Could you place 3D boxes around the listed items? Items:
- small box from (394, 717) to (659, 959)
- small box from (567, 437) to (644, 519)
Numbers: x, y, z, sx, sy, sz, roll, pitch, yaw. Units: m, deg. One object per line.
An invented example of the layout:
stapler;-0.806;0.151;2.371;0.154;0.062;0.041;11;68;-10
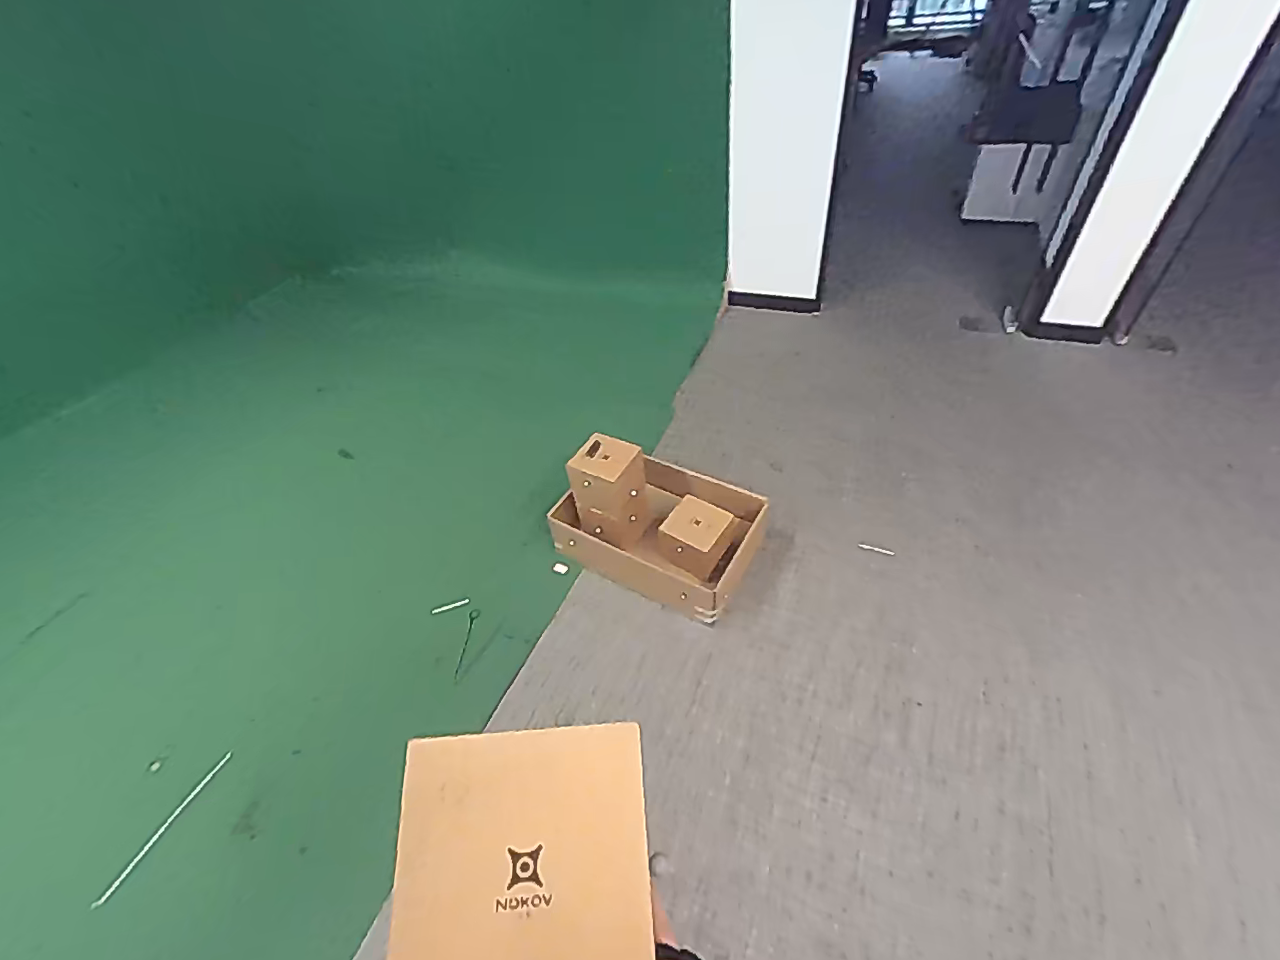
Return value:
small box;-0.079;0.290;0.428;0.168;0.176;0.179;-1;65;-6
small box;-0.102;-0.004;1.697;0.179;0.176;0.168;20;51;24
